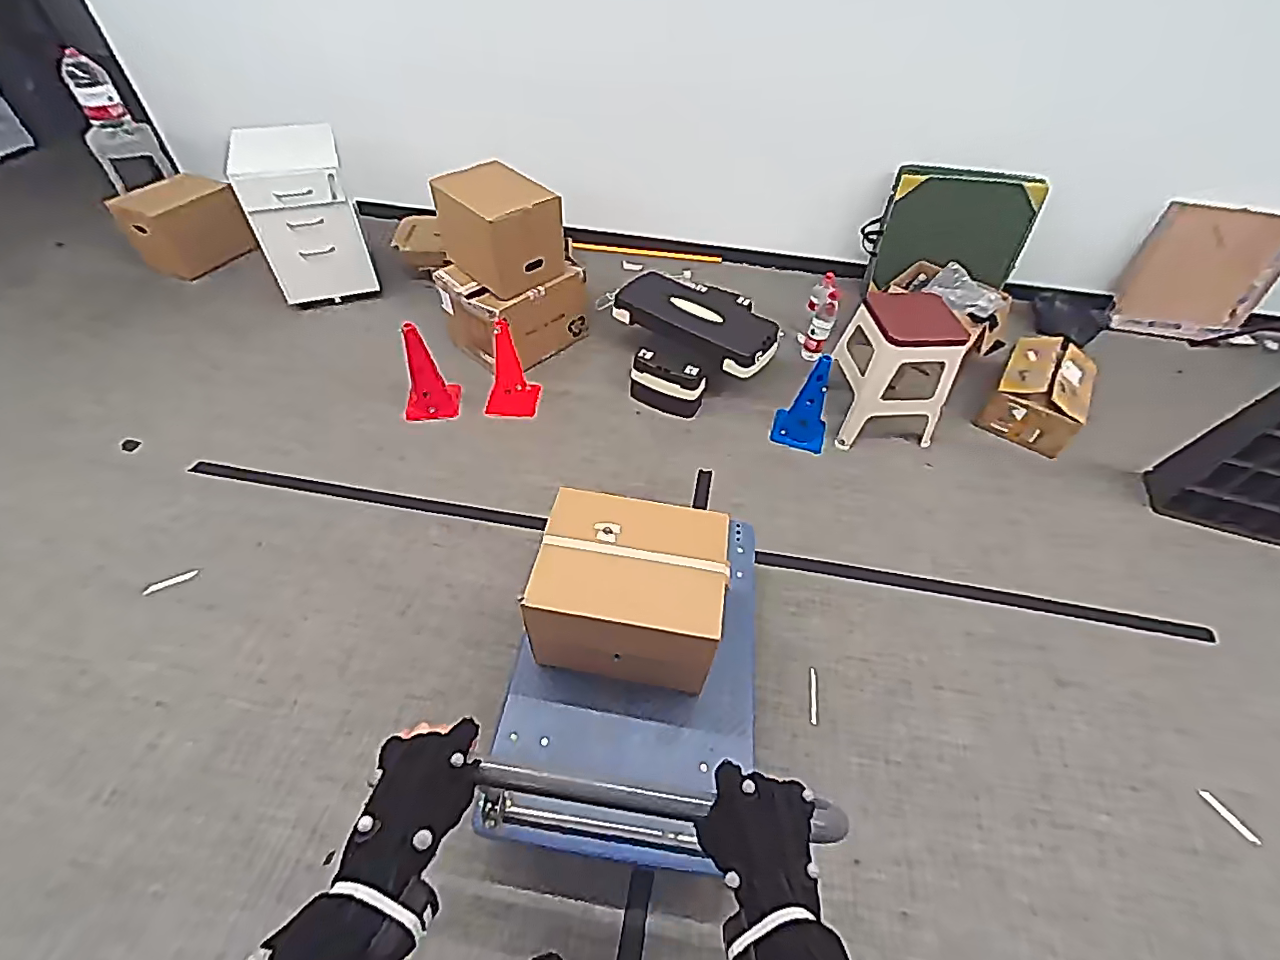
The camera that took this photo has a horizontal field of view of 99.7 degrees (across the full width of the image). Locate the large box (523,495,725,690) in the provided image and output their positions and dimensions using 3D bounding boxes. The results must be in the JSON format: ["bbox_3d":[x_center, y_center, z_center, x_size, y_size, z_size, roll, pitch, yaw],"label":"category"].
[{"bbox_3d":[-0.023,0.272,1.289,0.408,0.320,0.320,9,50,5],"label":"large box"}]
